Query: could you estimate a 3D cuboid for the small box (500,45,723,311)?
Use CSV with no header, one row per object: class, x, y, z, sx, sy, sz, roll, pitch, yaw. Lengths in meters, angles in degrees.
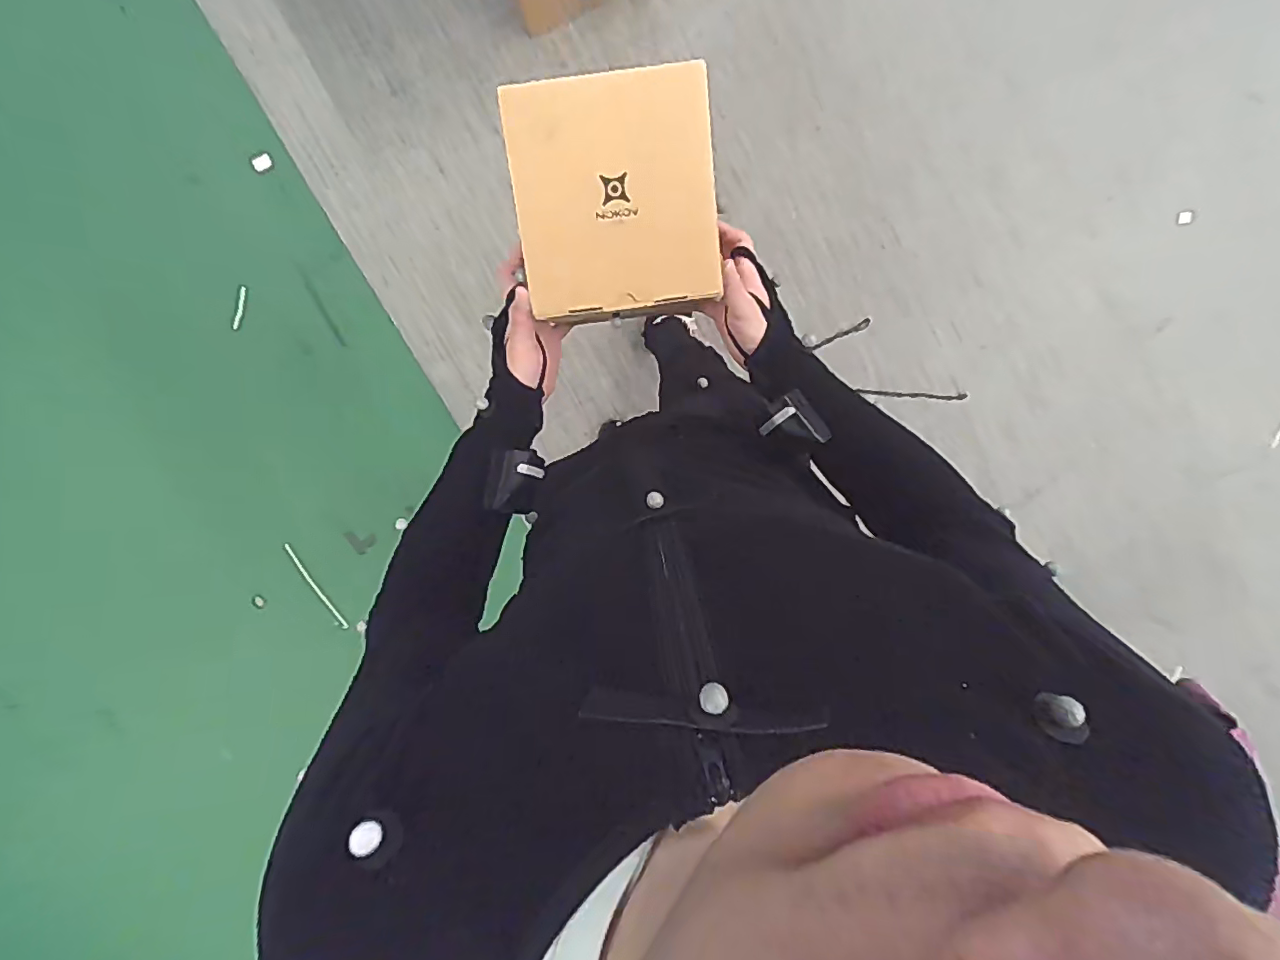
small box,-0.021,-0.262,0.513,0.168,0.176,0.179,-7,106,1
